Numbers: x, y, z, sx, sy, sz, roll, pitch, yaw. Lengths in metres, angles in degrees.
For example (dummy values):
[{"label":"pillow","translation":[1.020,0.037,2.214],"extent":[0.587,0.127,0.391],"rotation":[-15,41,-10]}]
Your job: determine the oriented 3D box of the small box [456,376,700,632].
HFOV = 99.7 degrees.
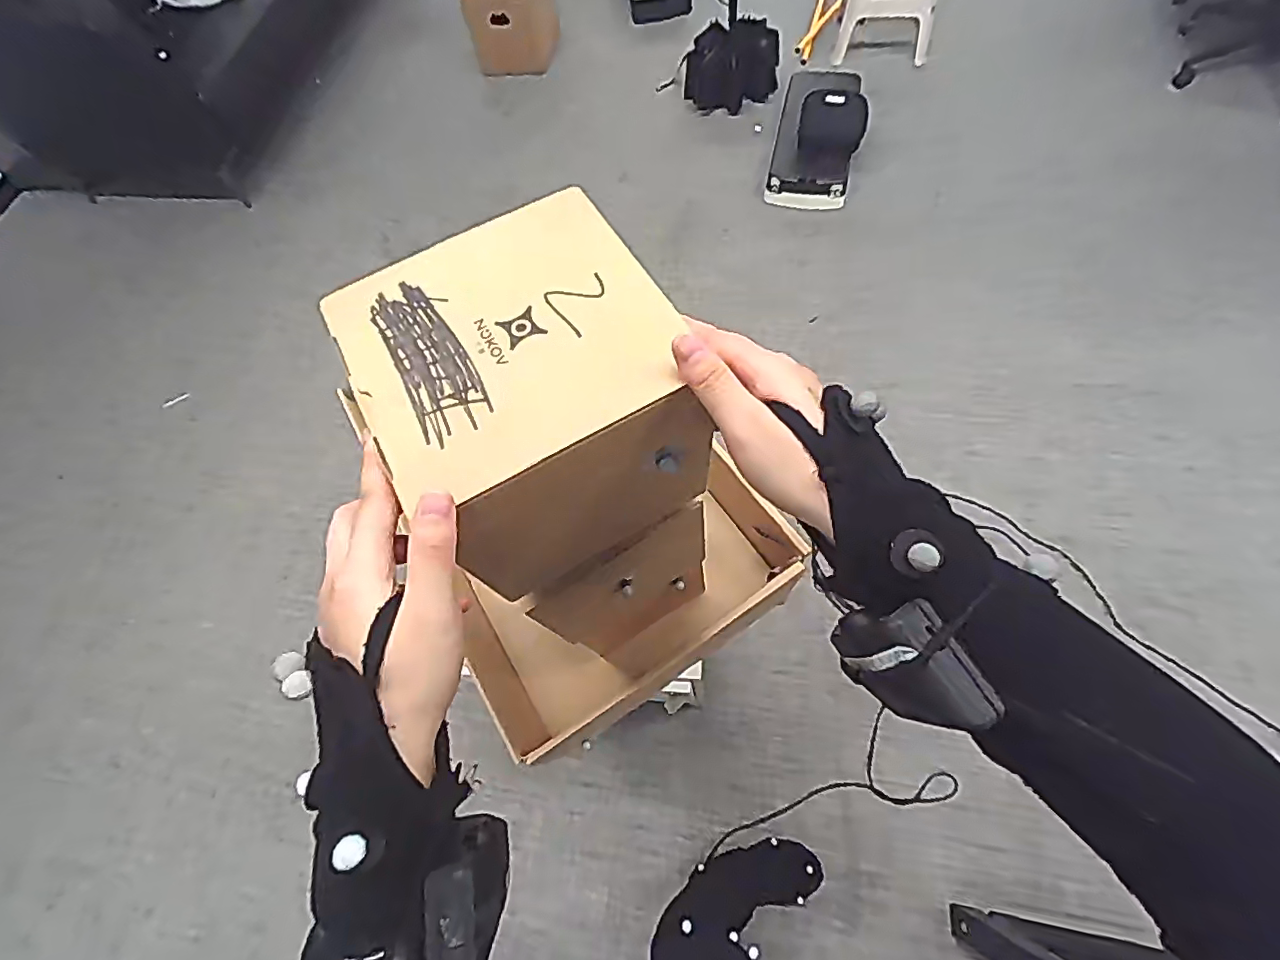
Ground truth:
[{"label":"small box","translation":[-0.052,0.033,0.561],"extent":[0.179,0.176,0.168],"rotation":[-32,64,-6]}]
